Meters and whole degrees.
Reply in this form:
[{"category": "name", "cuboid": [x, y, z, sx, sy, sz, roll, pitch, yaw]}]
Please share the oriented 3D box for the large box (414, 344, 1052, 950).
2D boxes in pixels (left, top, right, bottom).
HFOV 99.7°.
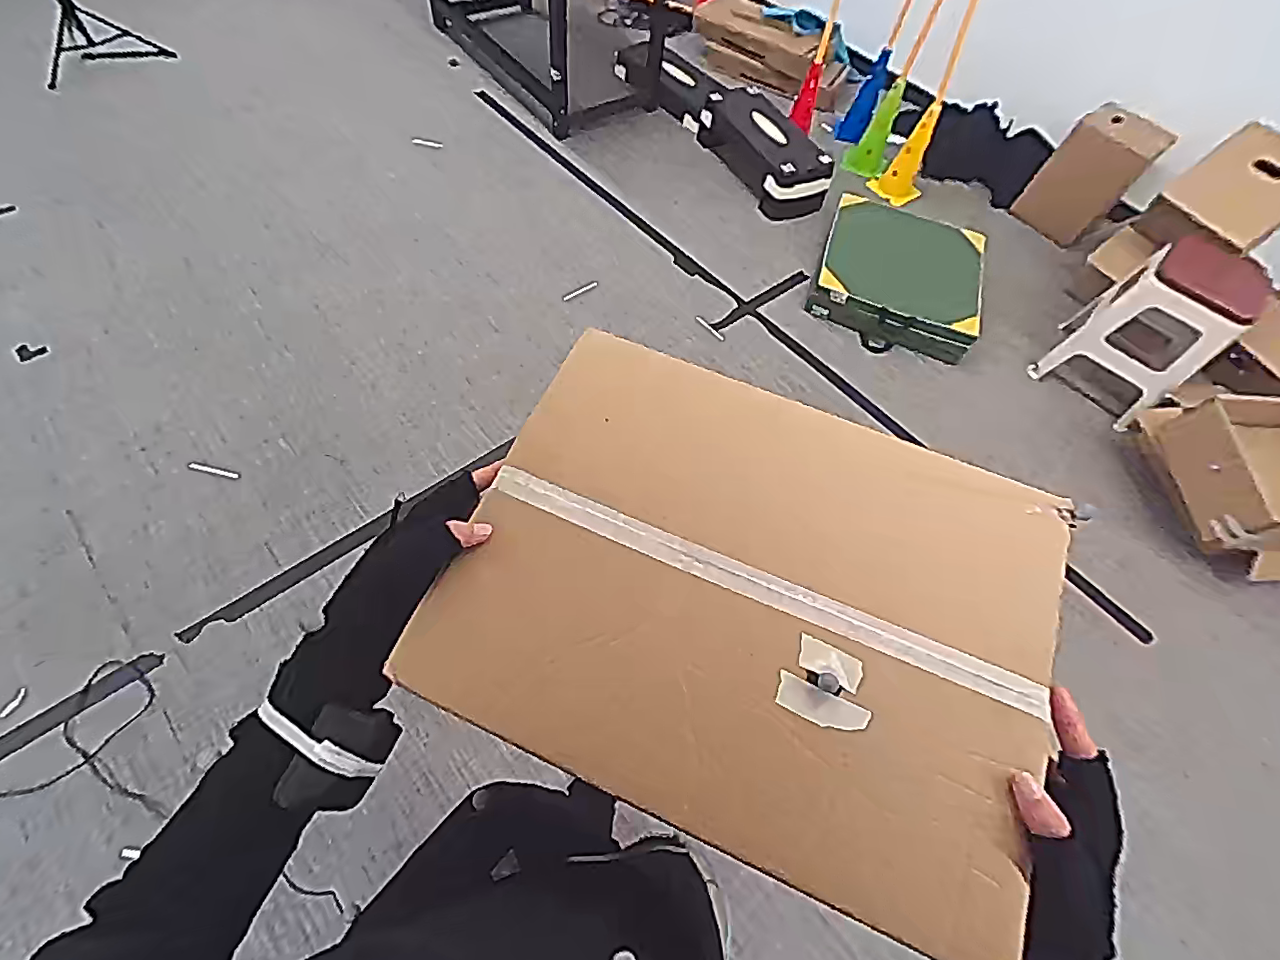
[{"category": "large box", "cuboid": [0.079, 0.134, 0.533, 0.408, 0.320, 0.320, 23, 69, 9]}]
